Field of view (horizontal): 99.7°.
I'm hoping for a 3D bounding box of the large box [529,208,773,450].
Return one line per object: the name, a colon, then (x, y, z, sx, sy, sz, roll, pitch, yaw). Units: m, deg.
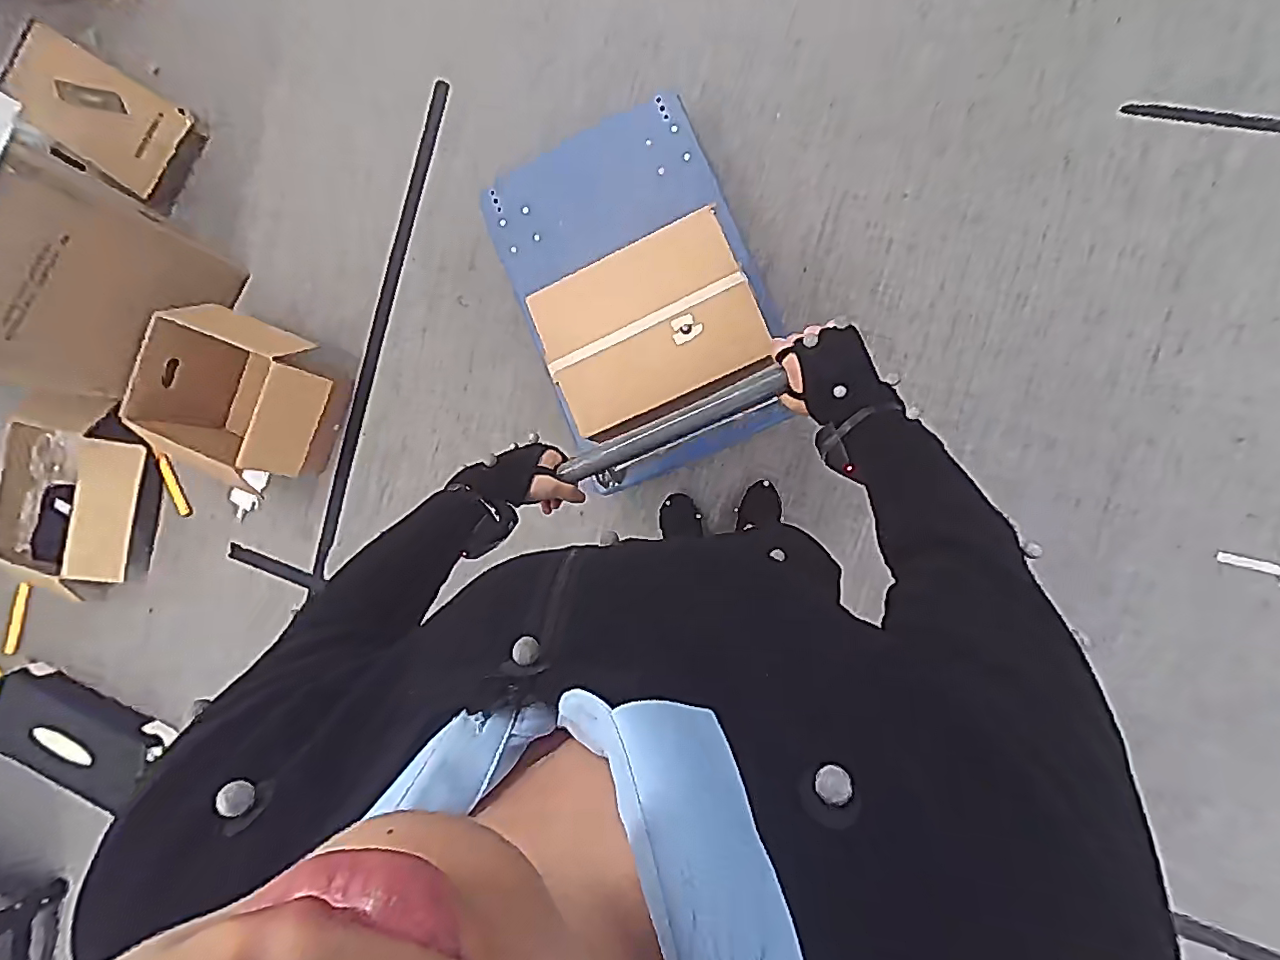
large box: (0.034, -0.294, 1.187, 0.408, 0.320, 0.320, -23, 86, 8)
